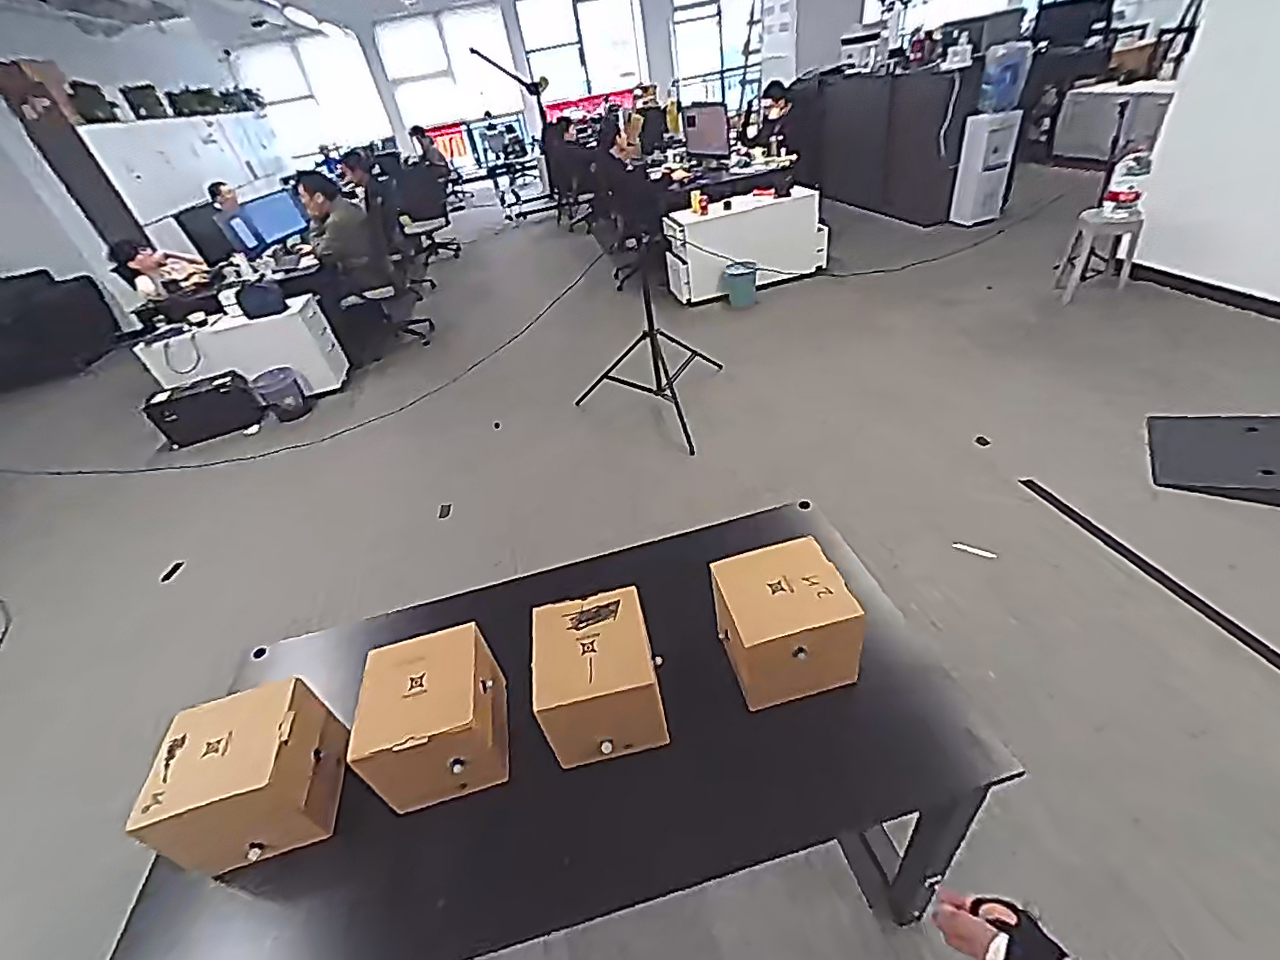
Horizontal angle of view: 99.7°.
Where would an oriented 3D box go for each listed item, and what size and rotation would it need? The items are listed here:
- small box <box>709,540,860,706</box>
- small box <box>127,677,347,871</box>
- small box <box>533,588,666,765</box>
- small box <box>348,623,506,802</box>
[{"bbox_3d":[0.221,0.226,0.847,0.179,0.176,0.168,-14,37,-3],"label":"small box"},{"bbox_3d":[-0.555,0.422,0.781,0.179,0.176,0.168,-15,37,-8],"label":"small box"},{"bbox_3d":[-0.061,0.297,0.824,0.168,0.176,0.179,-12,38,-2],"label":"small box"},{"bbox_3d":[-0.304,0.353,0.813,0.168,0.176,0.179,-14,36,-6],"label":"small box"}]
